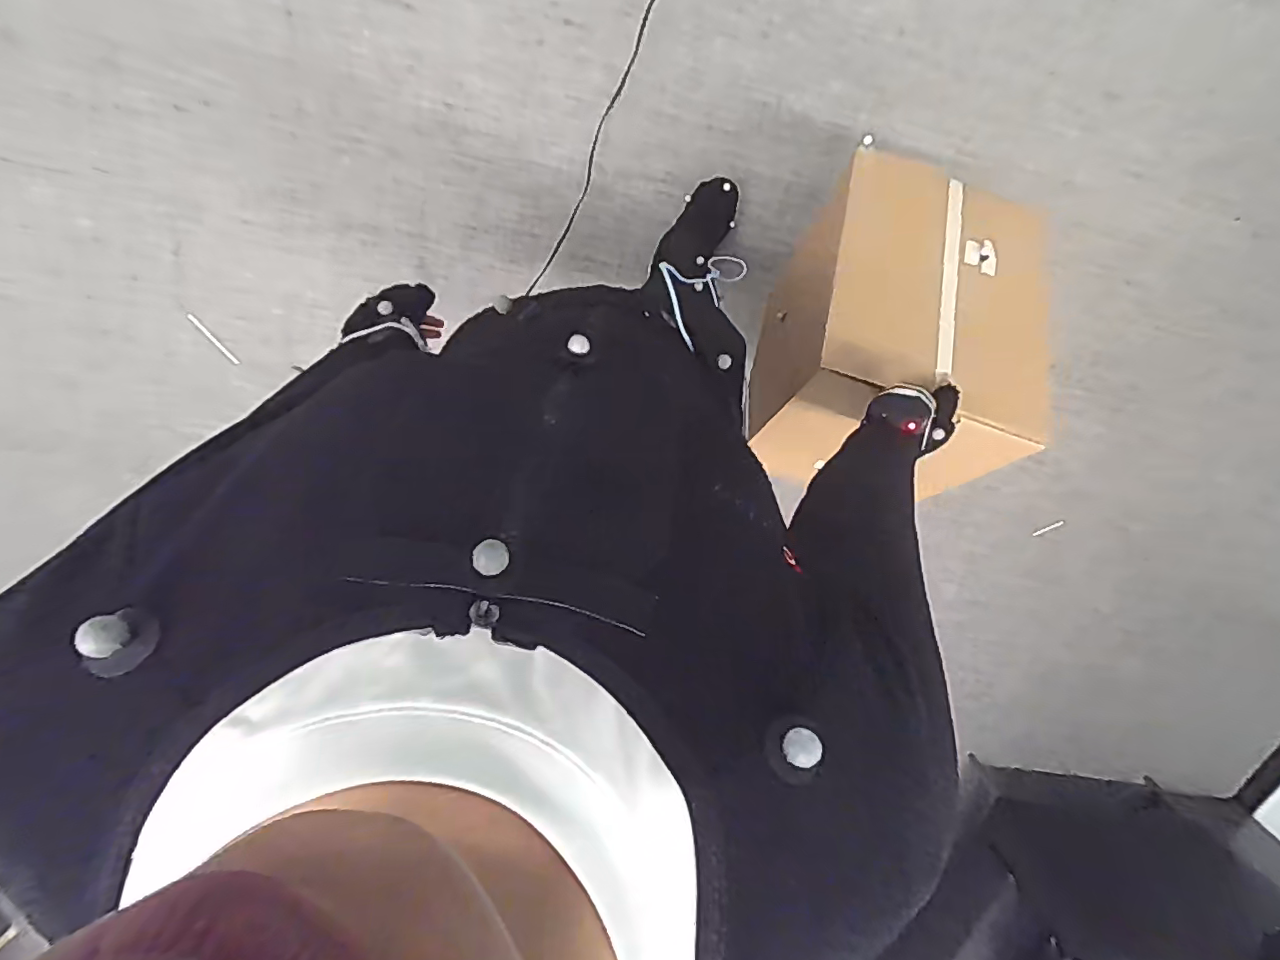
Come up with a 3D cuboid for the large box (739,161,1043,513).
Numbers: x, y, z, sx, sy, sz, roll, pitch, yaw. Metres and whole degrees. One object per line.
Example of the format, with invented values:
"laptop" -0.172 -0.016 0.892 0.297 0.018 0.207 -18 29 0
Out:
"large box" 0.384 -0.205 0.882 0.320 0.320 0.408 18 67 -6
